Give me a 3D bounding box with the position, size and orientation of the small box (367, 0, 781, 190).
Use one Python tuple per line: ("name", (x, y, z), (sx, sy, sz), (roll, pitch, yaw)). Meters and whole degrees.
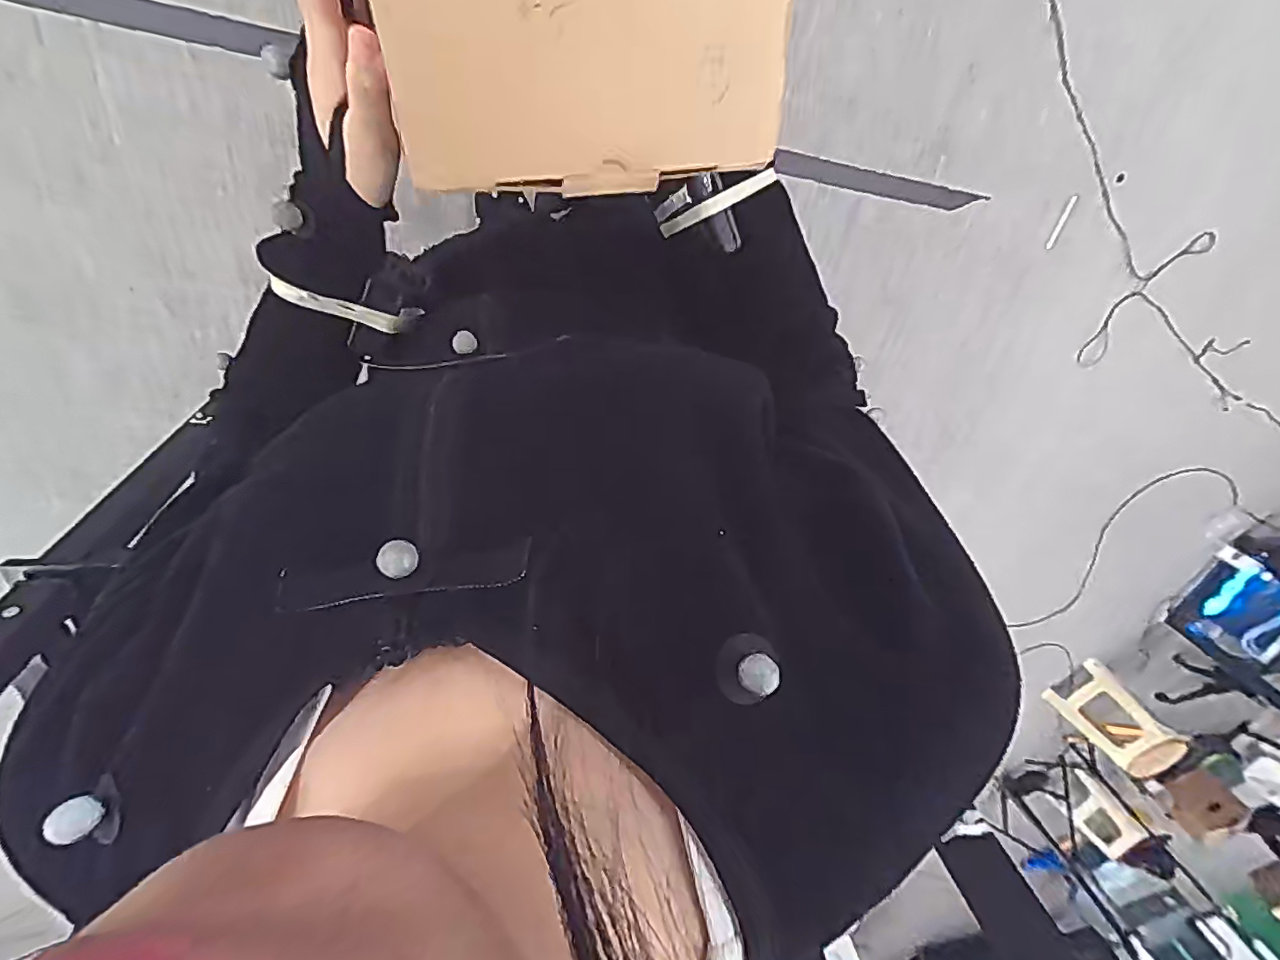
("small box", (-0.044, -0.252, 0.252), (0.168, 0.176, 0.179), (-13, 129, -15))
